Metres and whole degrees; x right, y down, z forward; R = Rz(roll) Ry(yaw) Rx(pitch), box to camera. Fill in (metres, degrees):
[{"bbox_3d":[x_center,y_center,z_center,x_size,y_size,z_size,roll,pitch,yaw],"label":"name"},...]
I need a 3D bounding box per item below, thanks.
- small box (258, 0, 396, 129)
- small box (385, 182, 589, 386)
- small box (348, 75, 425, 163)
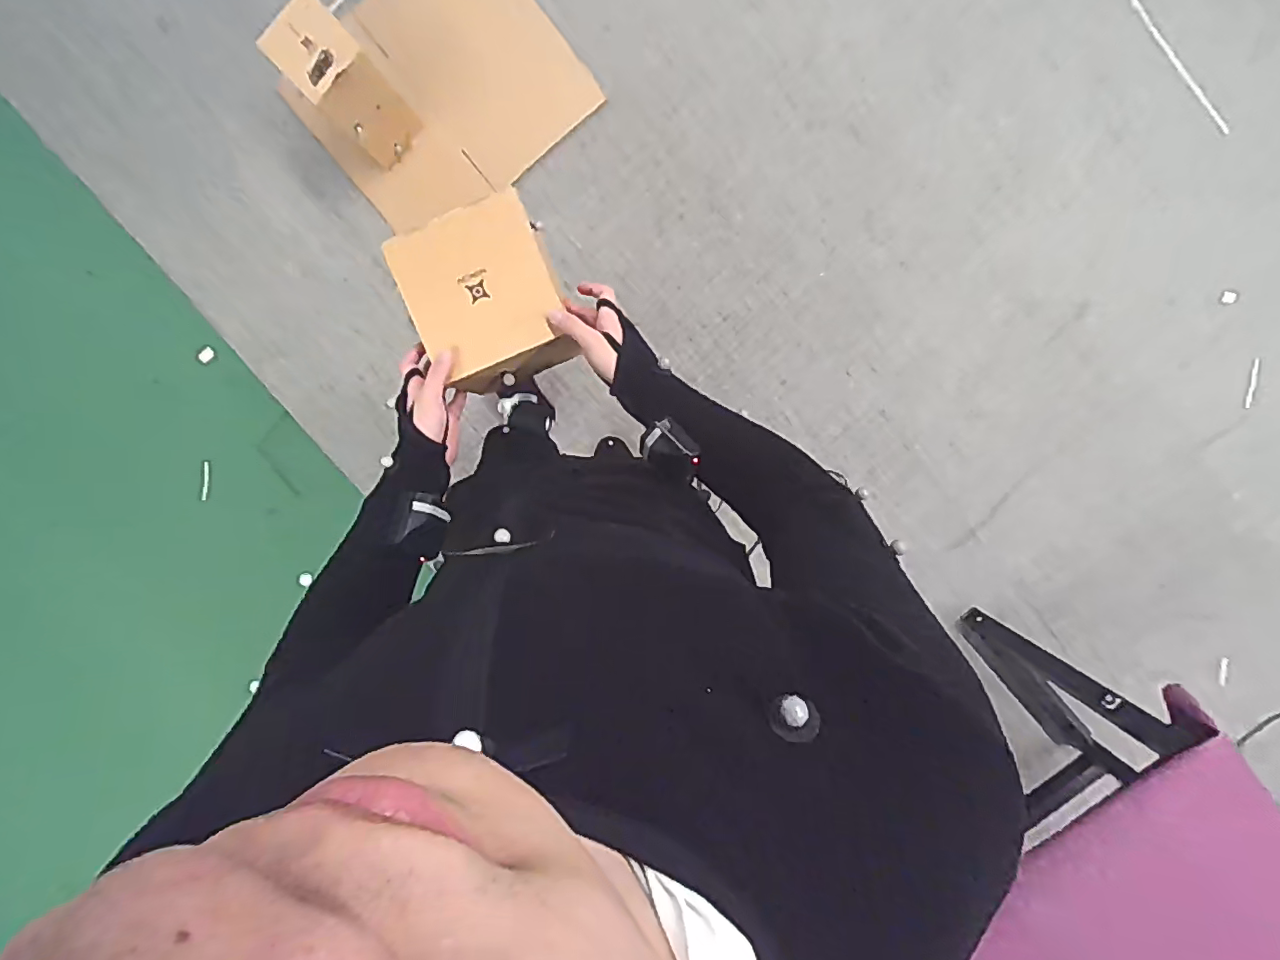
[{"bbox_3d":[-0.703,-0.948,1.237,0.168,0.176,0.179,-43,94,6],"label":"small box"},{"bbox_3d":[-0.176,-0.228,0.685,0.168,0.176,0.179,-23,94,4],"label":"small box"},{"bbox_3d":[-0.701,-0.970,1.399,0.179,0.176,0.168,43,96,-5],"label":"small box"}]
